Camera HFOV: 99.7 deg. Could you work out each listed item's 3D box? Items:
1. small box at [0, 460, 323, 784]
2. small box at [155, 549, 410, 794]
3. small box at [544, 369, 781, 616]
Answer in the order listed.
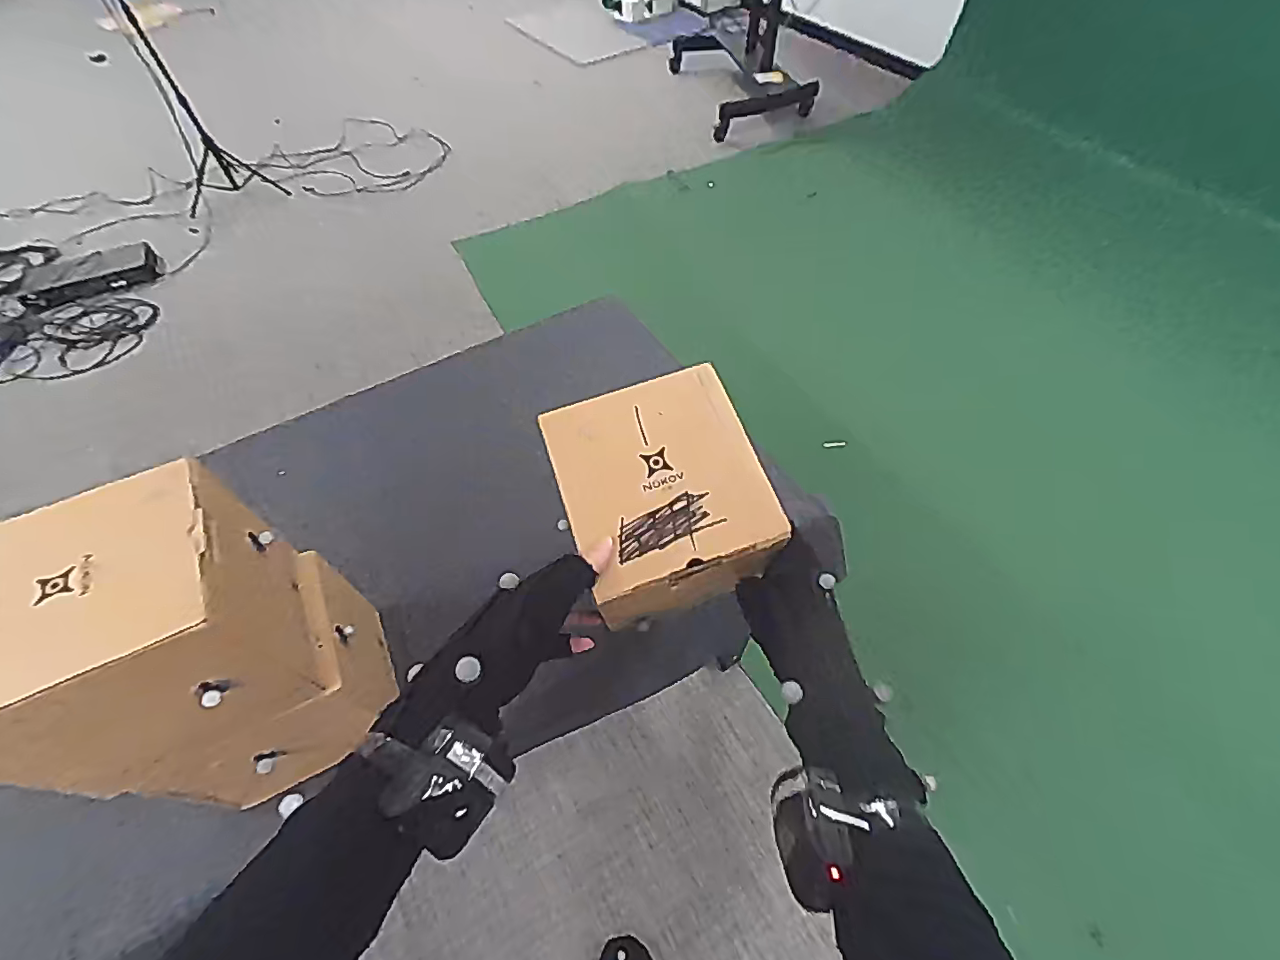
[{"bbox_3d":[-0.394,0.120,0.451,0.179,0.176,0.168,-26,56,-16],"label":"small box"},{"bbox_3d":[-0.380,0.211,0.585,0.179,0.176,0.168,-24,57,-15],"label":"small box"},{"bbox_3d":[0.018,0.025,0.541,0.168,0.176,0.179,-18,66,-6],"label":"small box"}]
